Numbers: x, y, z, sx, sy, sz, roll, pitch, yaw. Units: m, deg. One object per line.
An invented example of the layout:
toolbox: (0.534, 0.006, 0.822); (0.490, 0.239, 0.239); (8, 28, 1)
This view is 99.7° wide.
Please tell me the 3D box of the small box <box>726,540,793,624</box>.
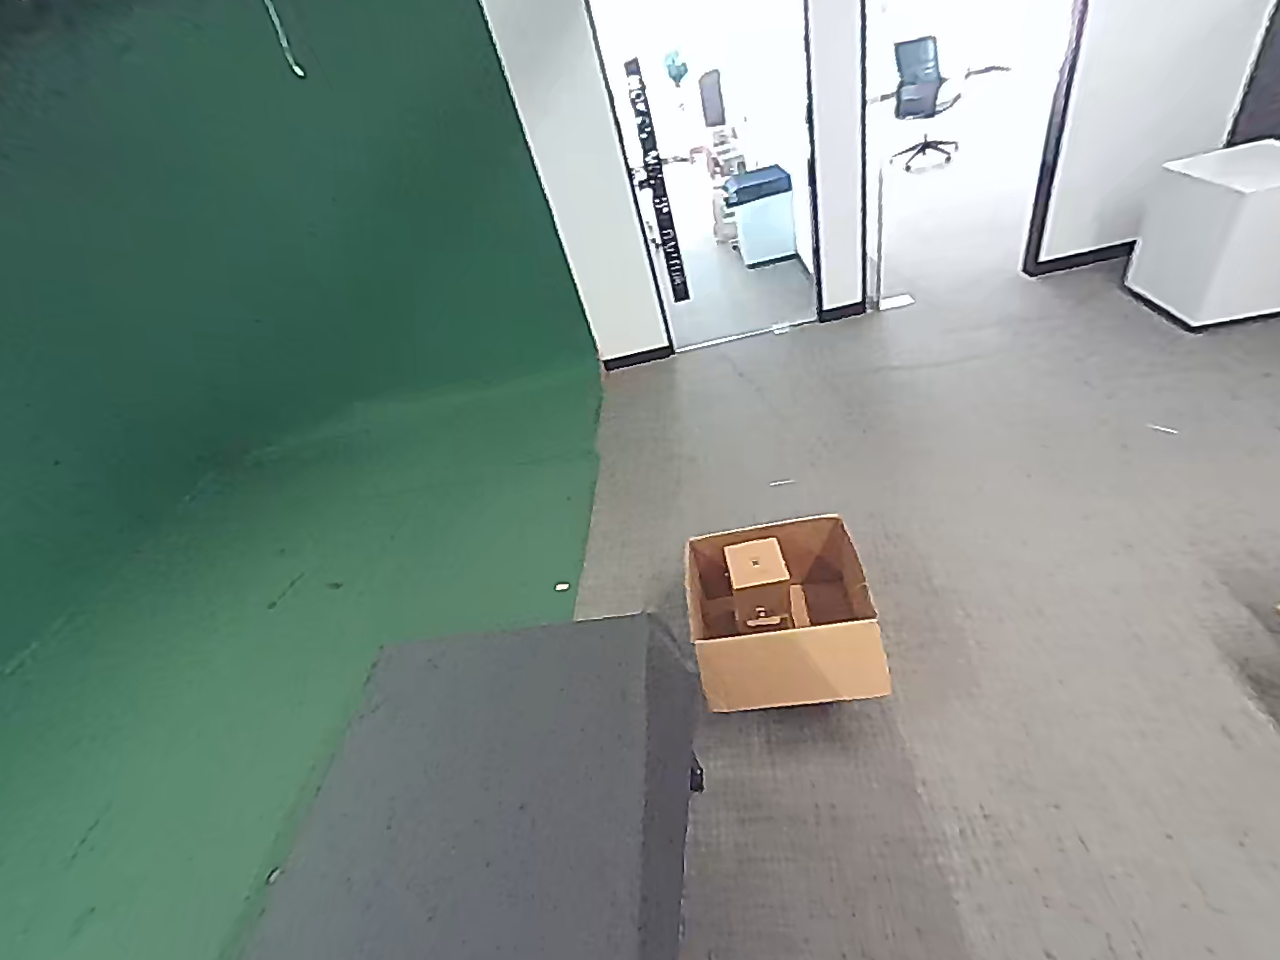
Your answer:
small box: (0.366, 0.314, 1.665); (0.168, 0.176, 0.179); (-12, 39, 5)
